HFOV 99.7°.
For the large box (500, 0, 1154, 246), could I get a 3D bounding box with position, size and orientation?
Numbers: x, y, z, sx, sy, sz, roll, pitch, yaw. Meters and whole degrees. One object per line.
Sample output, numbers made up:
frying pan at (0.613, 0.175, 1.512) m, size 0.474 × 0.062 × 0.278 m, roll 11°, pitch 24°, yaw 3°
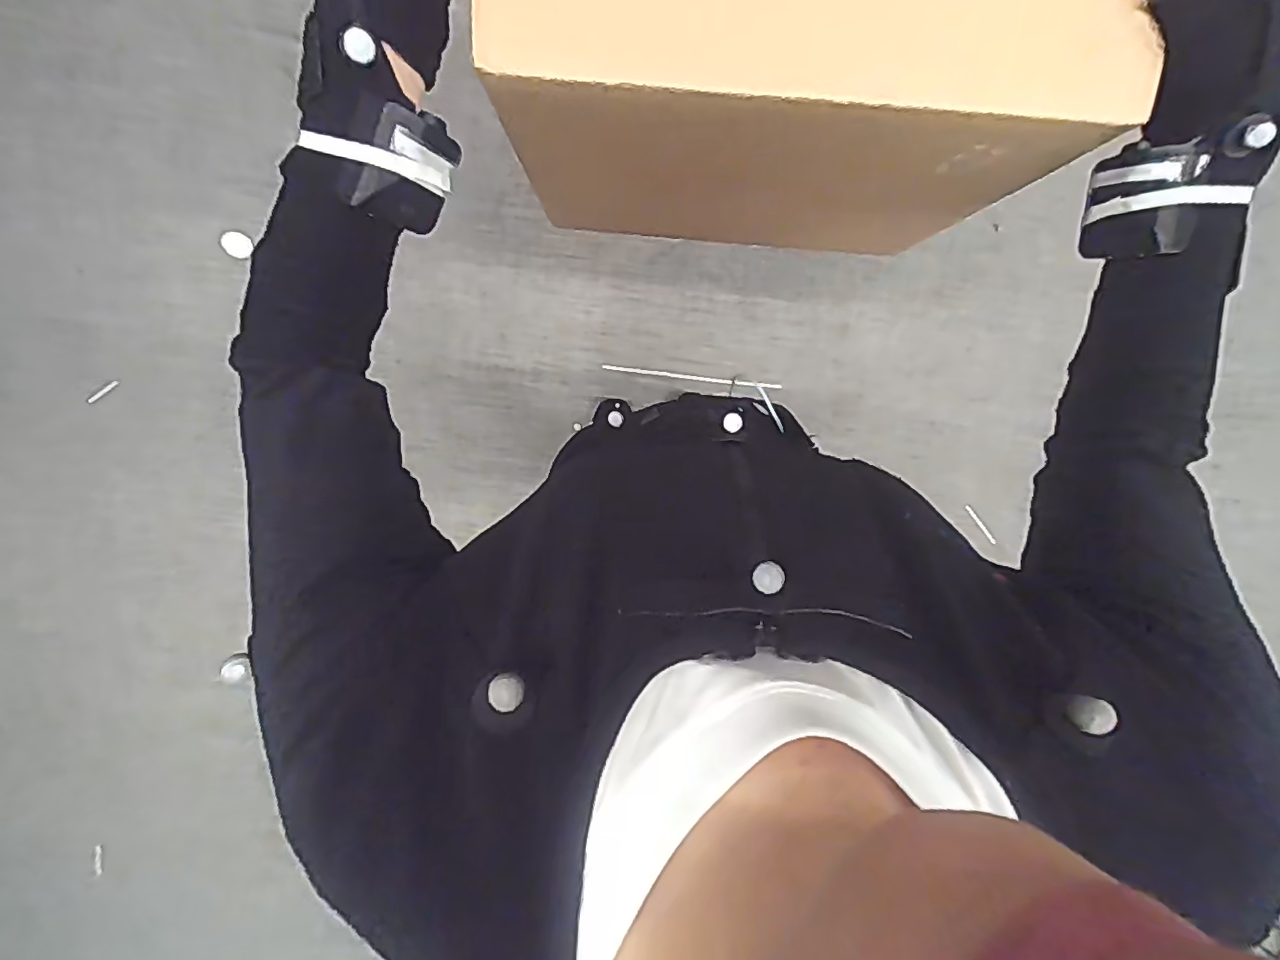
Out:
large box at (0.114, -0.408, 0.457) m, size 0.408 × 0.320 × 0.320 m, roll 3°, pitch 99°, yaw -2°
